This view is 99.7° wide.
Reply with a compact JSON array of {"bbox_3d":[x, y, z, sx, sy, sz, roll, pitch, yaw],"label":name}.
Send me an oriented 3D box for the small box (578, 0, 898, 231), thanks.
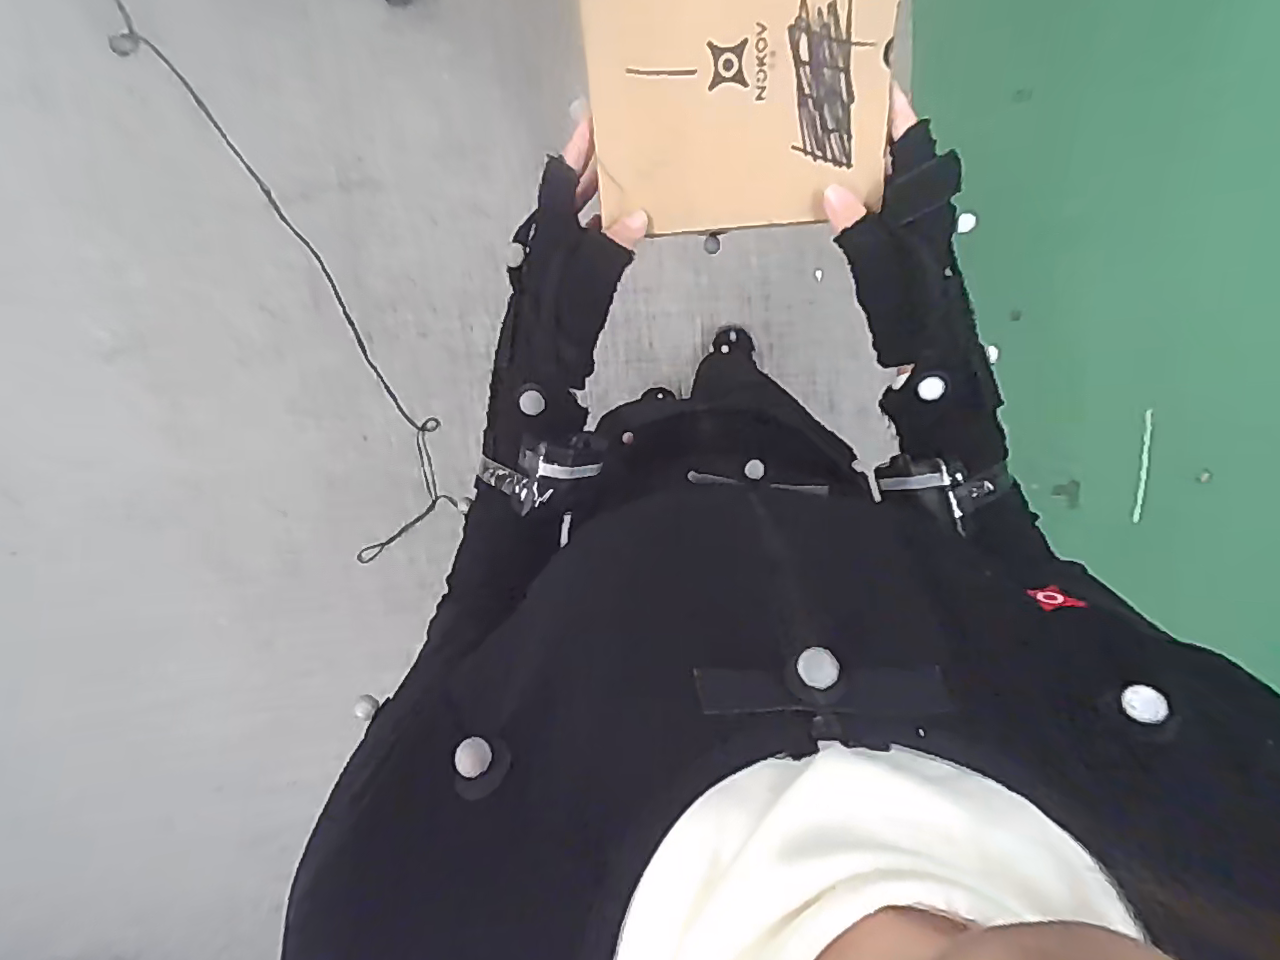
[{"bbox_3d":[0.054,-0.271,0.374,0.179,0.176,0.168,-5,114,2],"label":"small box"}]
